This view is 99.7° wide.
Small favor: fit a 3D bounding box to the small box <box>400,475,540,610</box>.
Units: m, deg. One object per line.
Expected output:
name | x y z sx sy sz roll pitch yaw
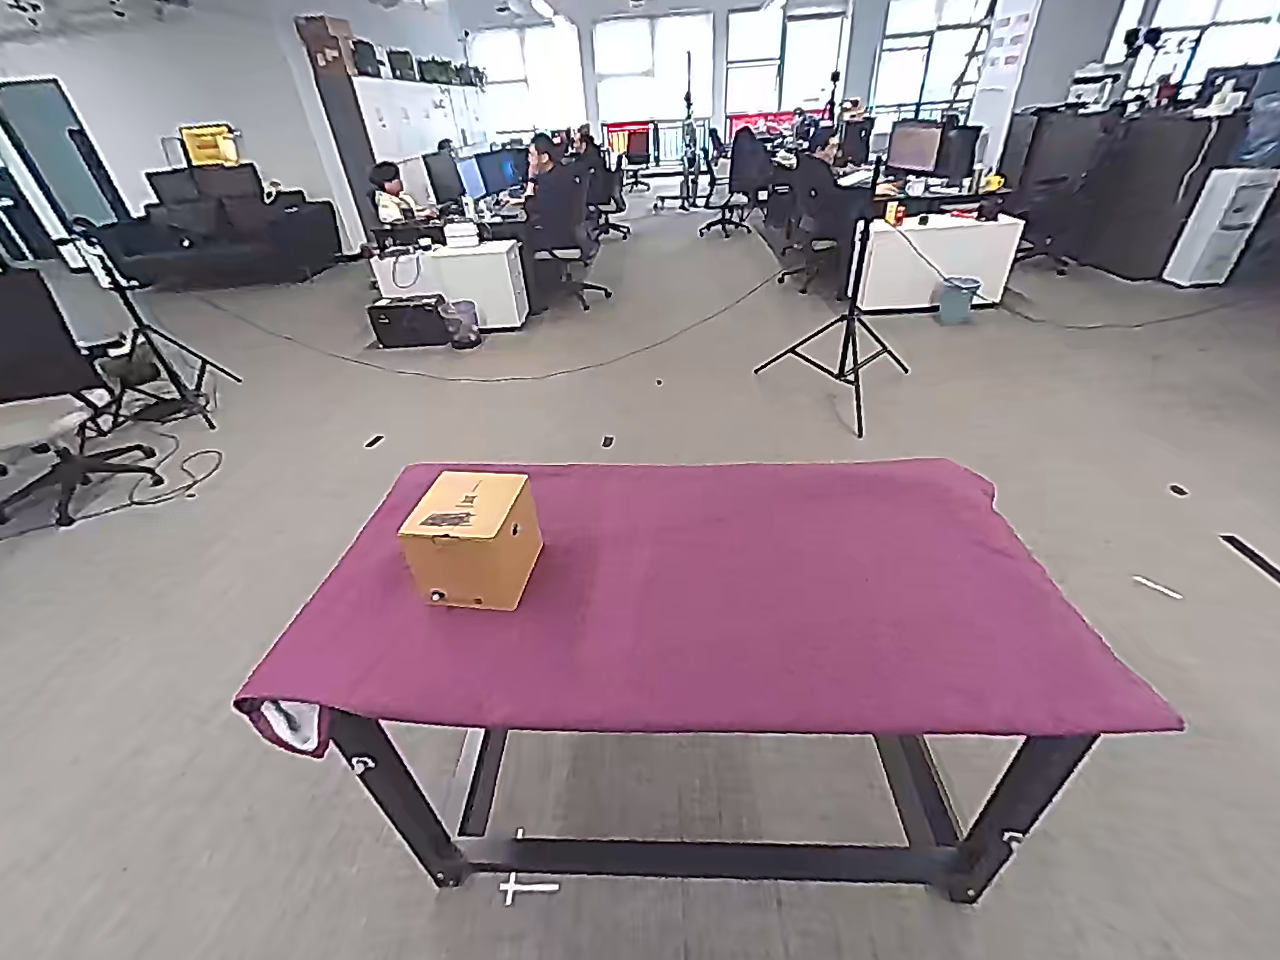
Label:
small box | -0.286 0.110 0.958 0.168 0.176 0.179 2 35 9
